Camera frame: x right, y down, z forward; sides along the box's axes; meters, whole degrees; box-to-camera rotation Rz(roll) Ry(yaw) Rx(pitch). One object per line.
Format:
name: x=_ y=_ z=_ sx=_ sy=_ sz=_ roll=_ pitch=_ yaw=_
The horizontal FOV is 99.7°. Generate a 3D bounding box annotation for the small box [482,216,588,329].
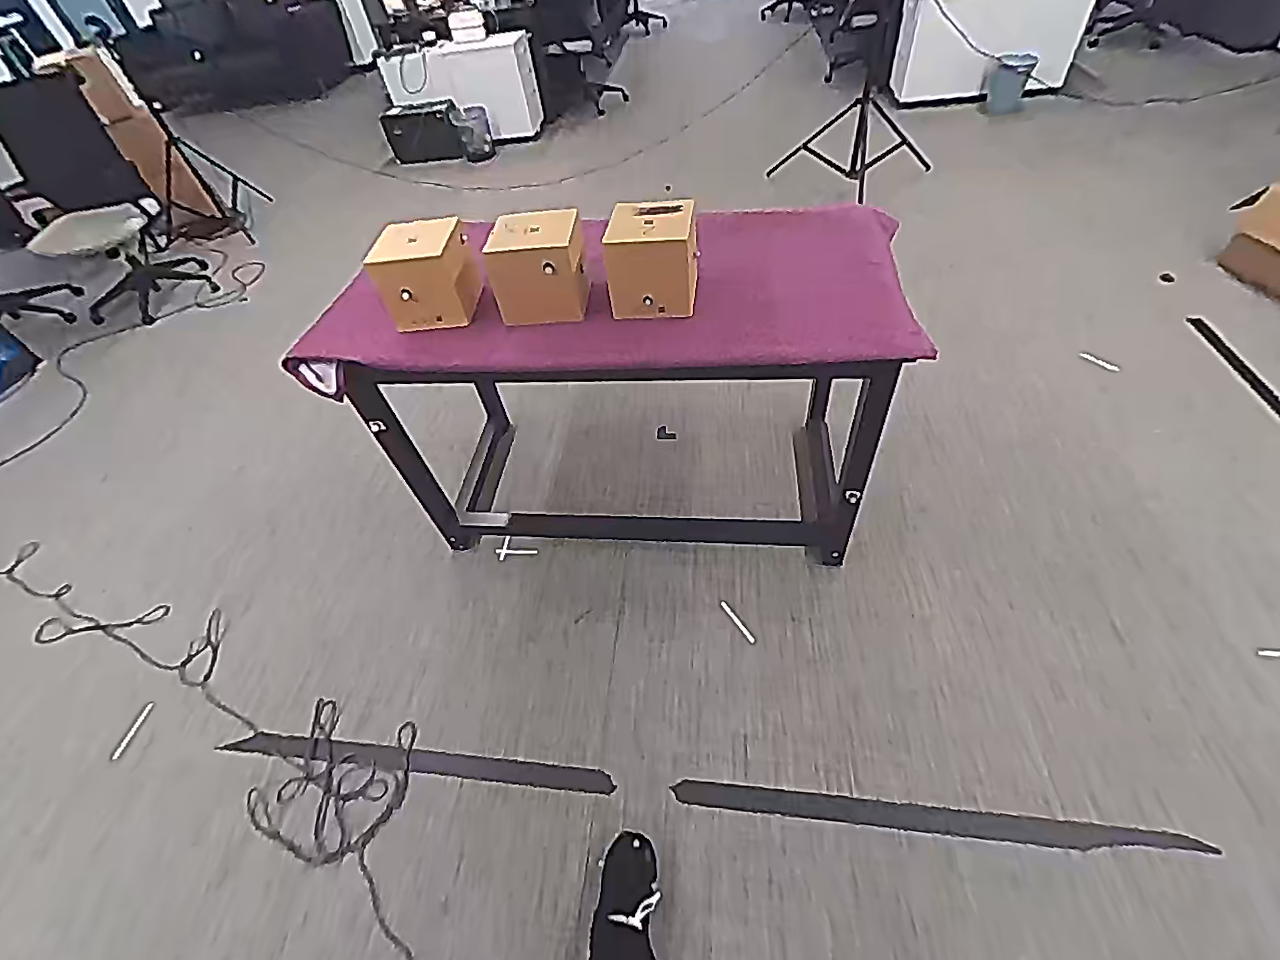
small box: x=-0.213 y=-0.440 z=1.155 sx=0.179 sy=0.176 sz=0.168 roll=-2 pitch=48 yaw=6

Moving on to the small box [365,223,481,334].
small box: x=-0.466 y=-0.438 z=1.195 sx=0.168 sy=0.176 sz=0.179 roll=-5 pitch=48 yaw=4
